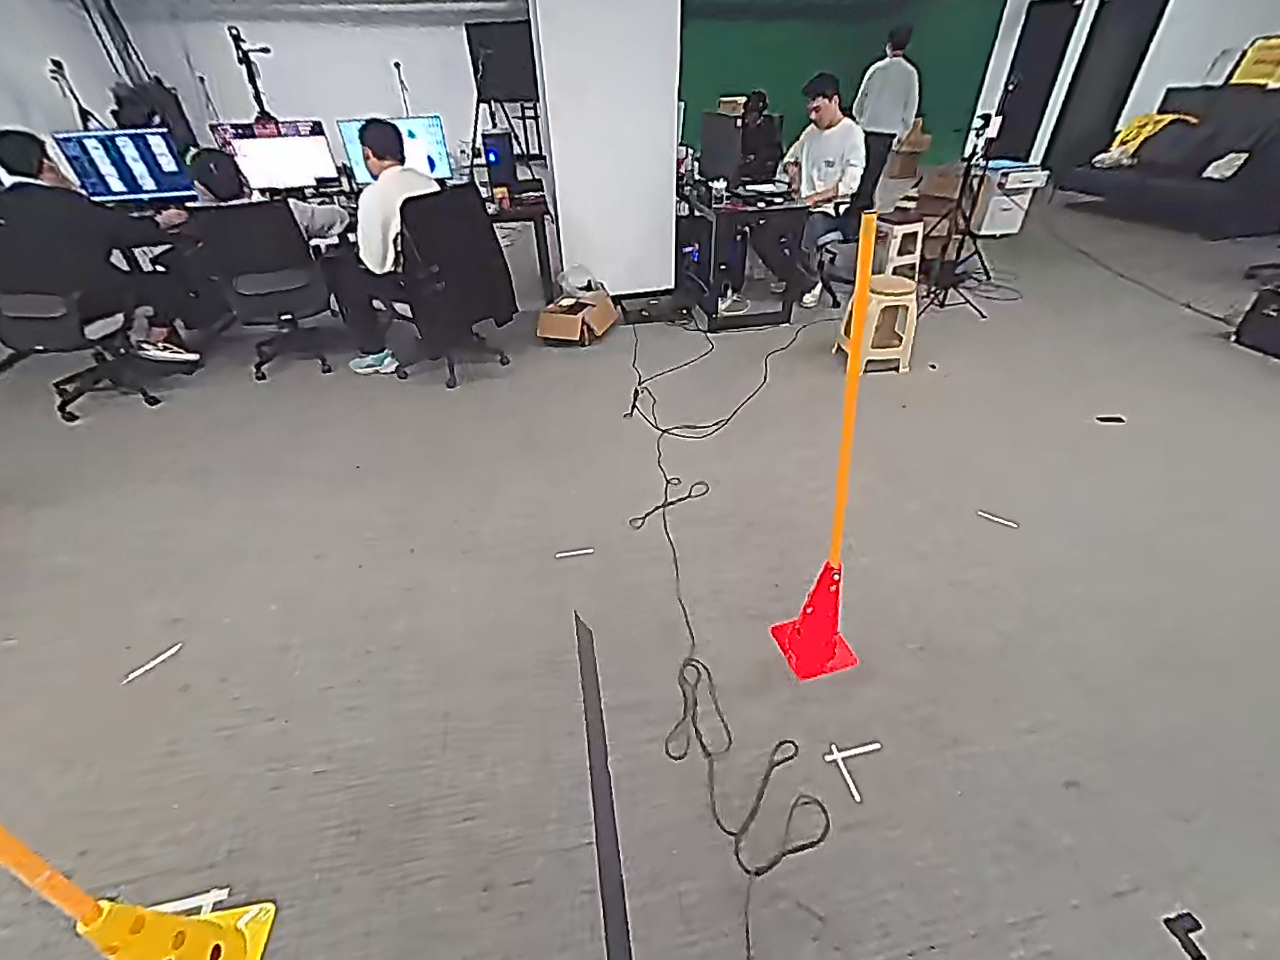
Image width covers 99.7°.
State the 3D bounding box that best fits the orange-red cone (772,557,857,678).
[{"bbox_3d":[0.513,0.357,1.522,0.199,0.360,0.198,-12,37,-10],"label":"orange-red cone"}]
